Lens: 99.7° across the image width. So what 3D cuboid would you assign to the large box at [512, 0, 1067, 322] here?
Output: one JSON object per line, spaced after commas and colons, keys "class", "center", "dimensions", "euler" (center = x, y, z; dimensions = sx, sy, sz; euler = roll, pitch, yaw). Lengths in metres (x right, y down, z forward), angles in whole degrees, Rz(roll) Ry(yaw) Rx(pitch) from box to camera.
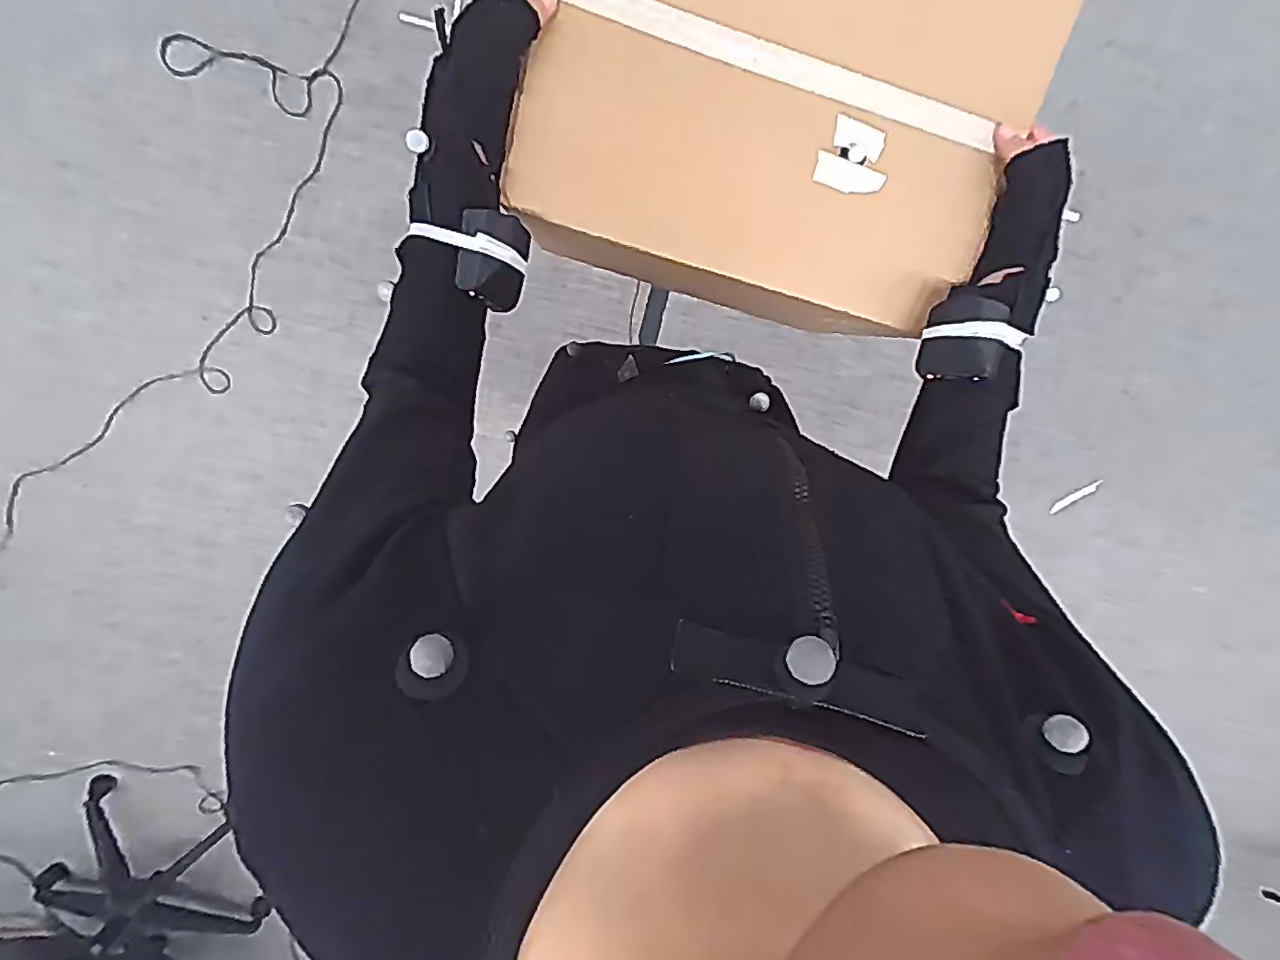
{"class": "large box", "center": [0.108, -0.372, 0.571], "dimensions": [0.408, 0.320, 0.320], "euler": [14, 107, -9]}
